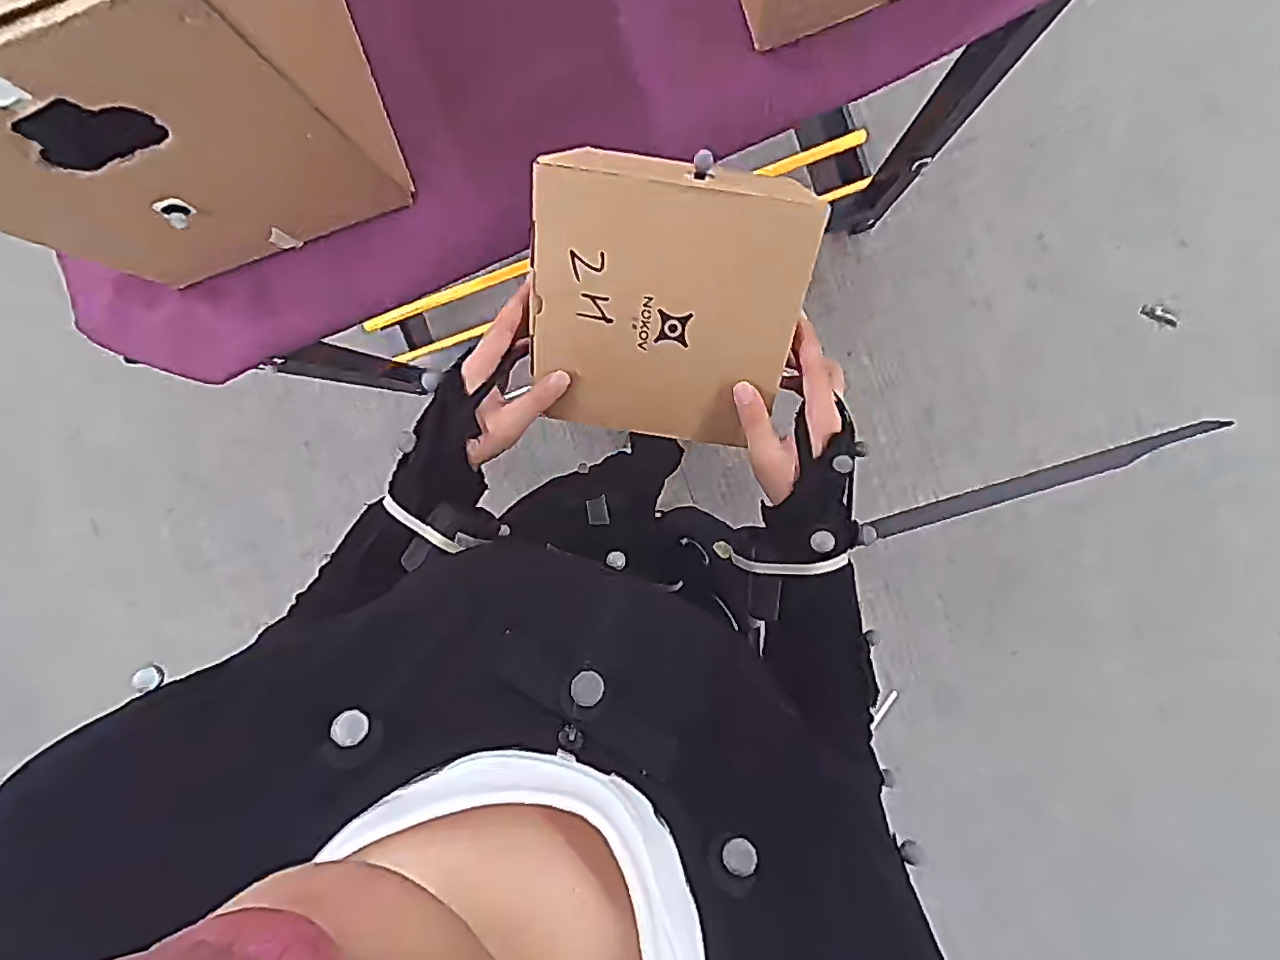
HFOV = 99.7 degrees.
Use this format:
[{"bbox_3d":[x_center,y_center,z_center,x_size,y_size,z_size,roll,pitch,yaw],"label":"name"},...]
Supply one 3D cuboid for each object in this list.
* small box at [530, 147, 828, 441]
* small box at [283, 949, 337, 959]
[{"bbox_3d":[0.022,-0.152,0.421,0.179,0.176,0.168,10,123,1],"label":"small box"},{"bbox_3d":[-0.815,1.257,1.268,0.168,0.176,0.179,-23,94,5],"label":"small box"}]
